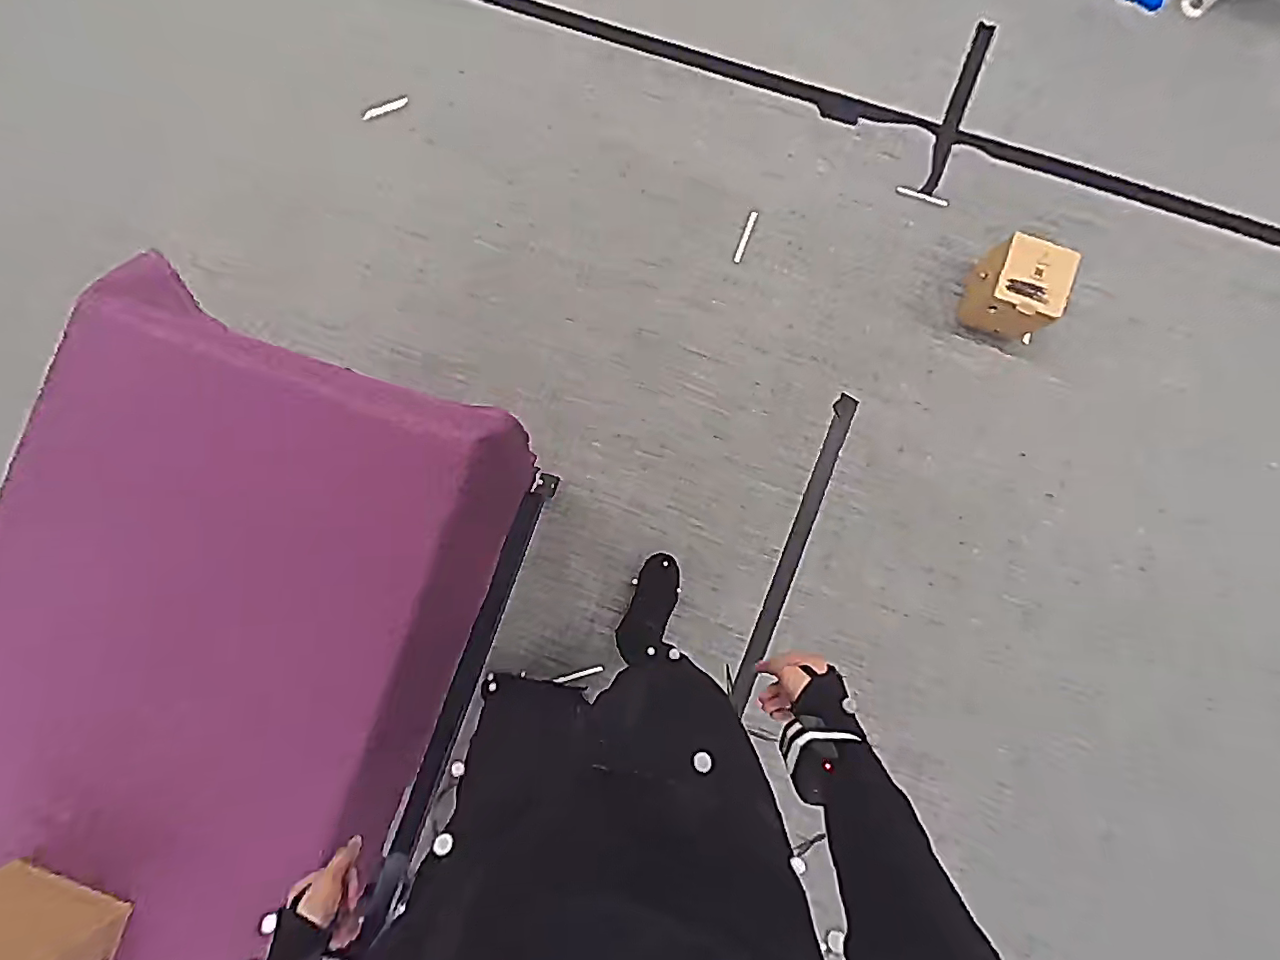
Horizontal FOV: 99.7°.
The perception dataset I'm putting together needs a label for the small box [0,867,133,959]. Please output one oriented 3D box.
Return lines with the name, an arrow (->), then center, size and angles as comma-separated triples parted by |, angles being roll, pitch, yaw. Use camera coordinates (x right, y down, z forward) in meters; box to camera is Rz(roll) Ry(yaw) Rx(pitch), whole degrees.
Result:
small box -> -0.765, 0.597, 0.623 | 0.179, 0.176, 0.168 | 20, 87, 3
